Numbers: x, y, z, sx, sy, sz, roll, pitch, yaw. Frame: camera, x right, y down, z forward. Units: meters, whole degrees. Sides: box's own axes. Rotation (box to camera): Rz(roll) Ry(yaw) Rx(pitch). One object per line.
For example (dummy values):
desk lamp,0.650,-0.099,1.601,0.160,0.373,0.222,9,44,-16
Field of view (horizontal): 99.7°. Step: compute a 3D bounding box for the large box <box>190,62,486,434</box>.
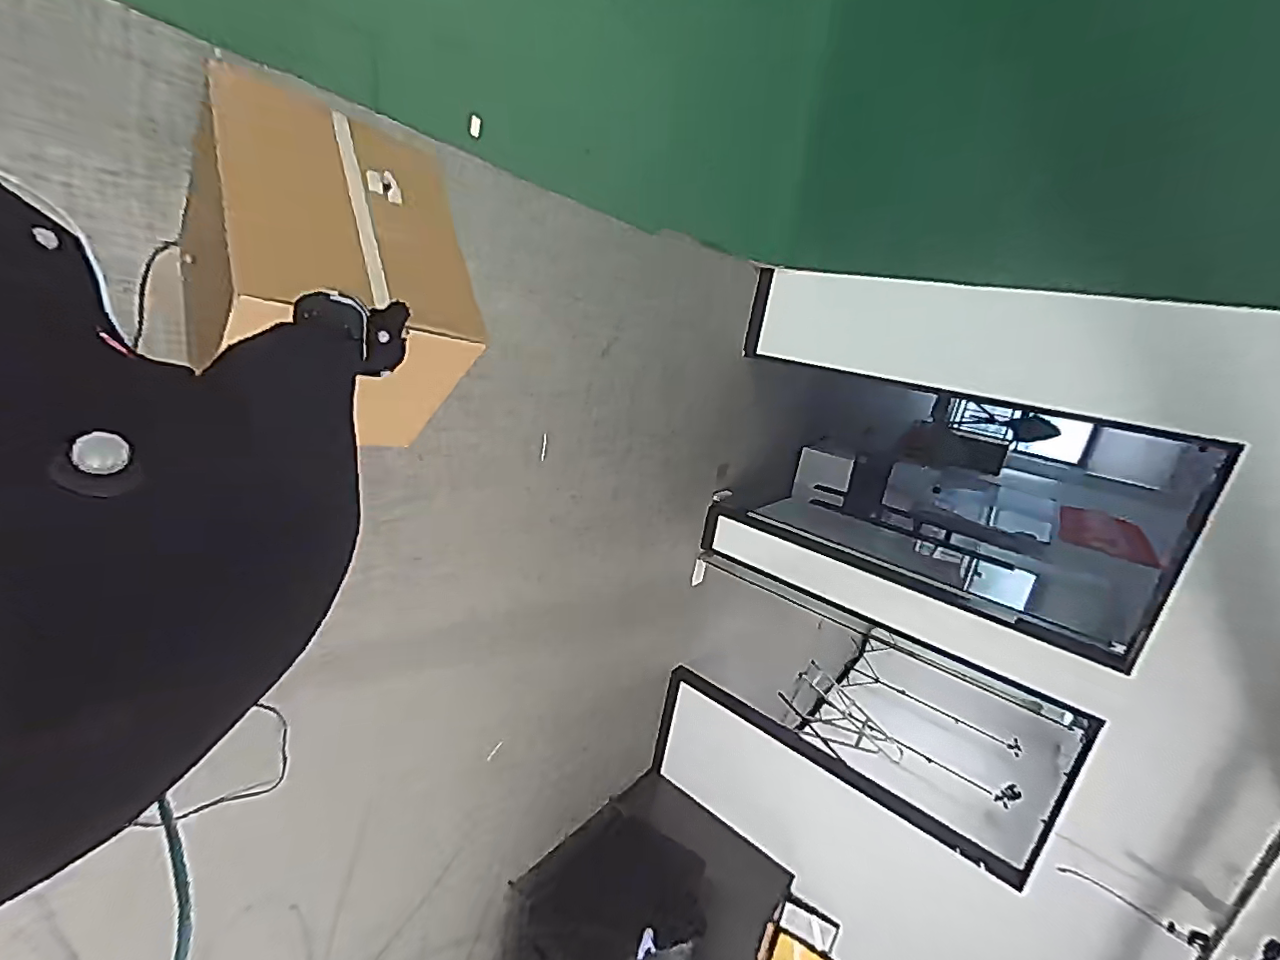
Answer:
large box,-0.497,-0.320,0.866,0.320,0.320,0.408,0,64,-46
